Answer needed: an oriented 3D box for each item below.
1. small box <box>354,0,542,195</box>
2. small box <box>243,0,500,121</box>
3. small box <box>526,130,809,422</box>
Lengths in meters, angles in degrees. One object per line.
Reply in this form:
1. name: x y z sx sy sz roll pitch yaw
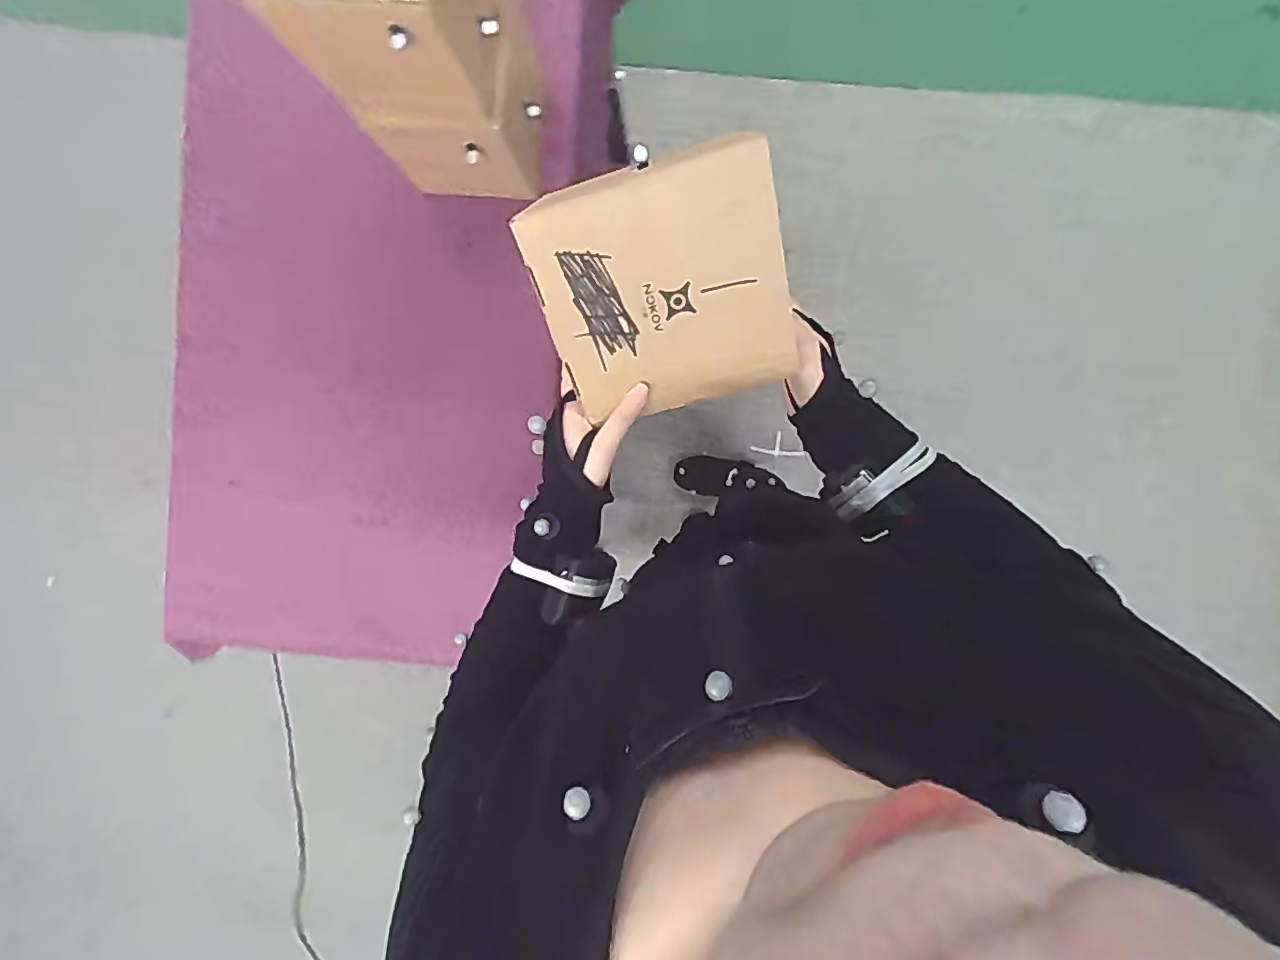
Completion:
1. small box: -0.234 -0.492 0.700 0.179 0.176 0.168 5 92 5
2. small box: -0.255 -0.492 0.538 0.179 0.176 0.168 5 92 3
3. small box: 0.027 -0.174 0.454 0.179 0.176 0.168 -14 123 8
